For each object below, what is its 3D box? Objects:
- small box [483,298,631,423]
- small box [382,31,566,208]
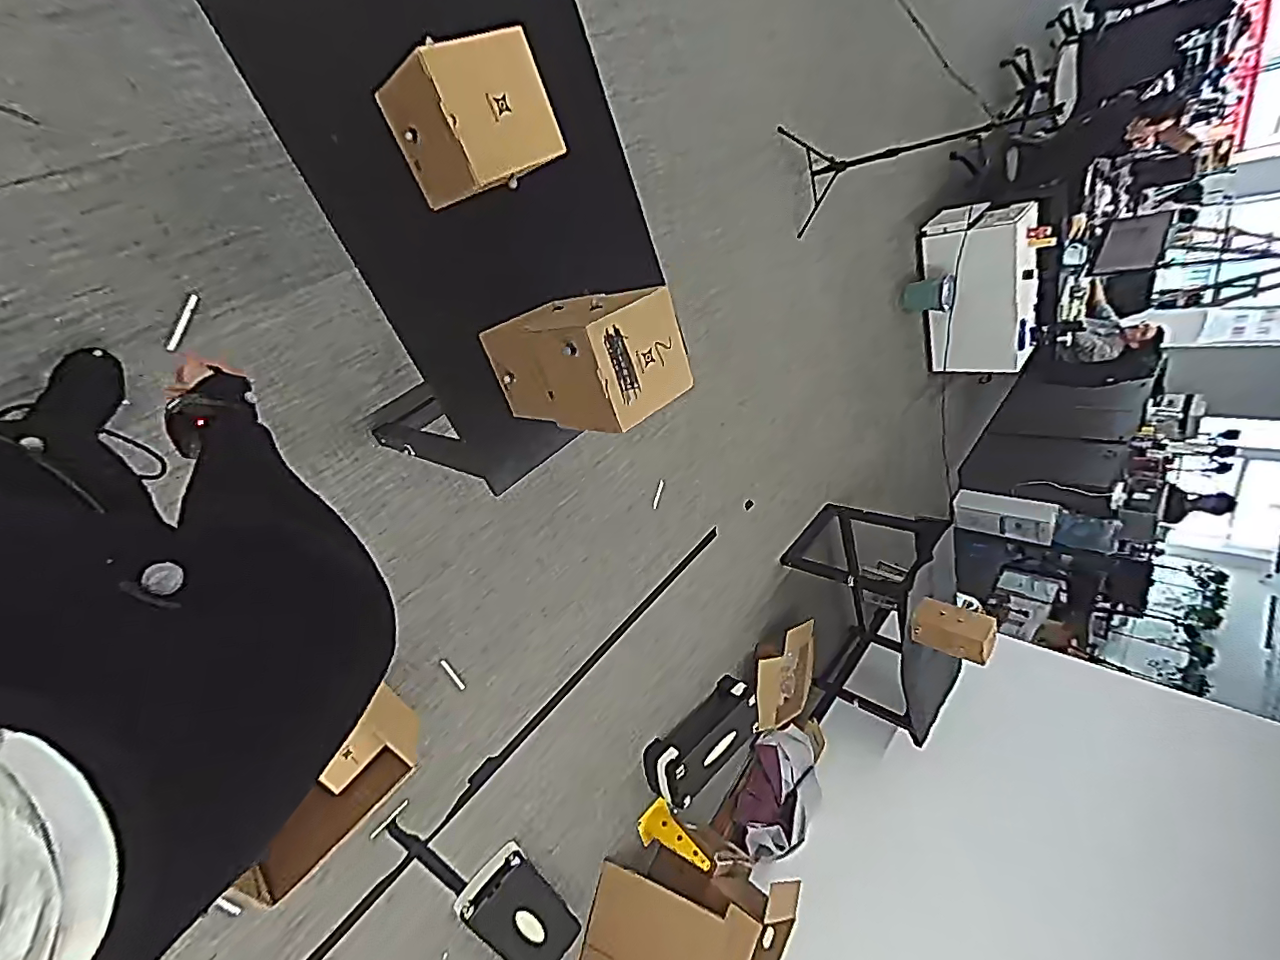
[{"bbox_3d":[-0.151,-0.219,0.983,0.179,0.176,0.168,-37,121,-32],"label":"small box"},{"bbox_3d":[-0.252,-0.538,0.821,0.179,0.176,0.168,-42,125,-29],"label":"small box"}]
